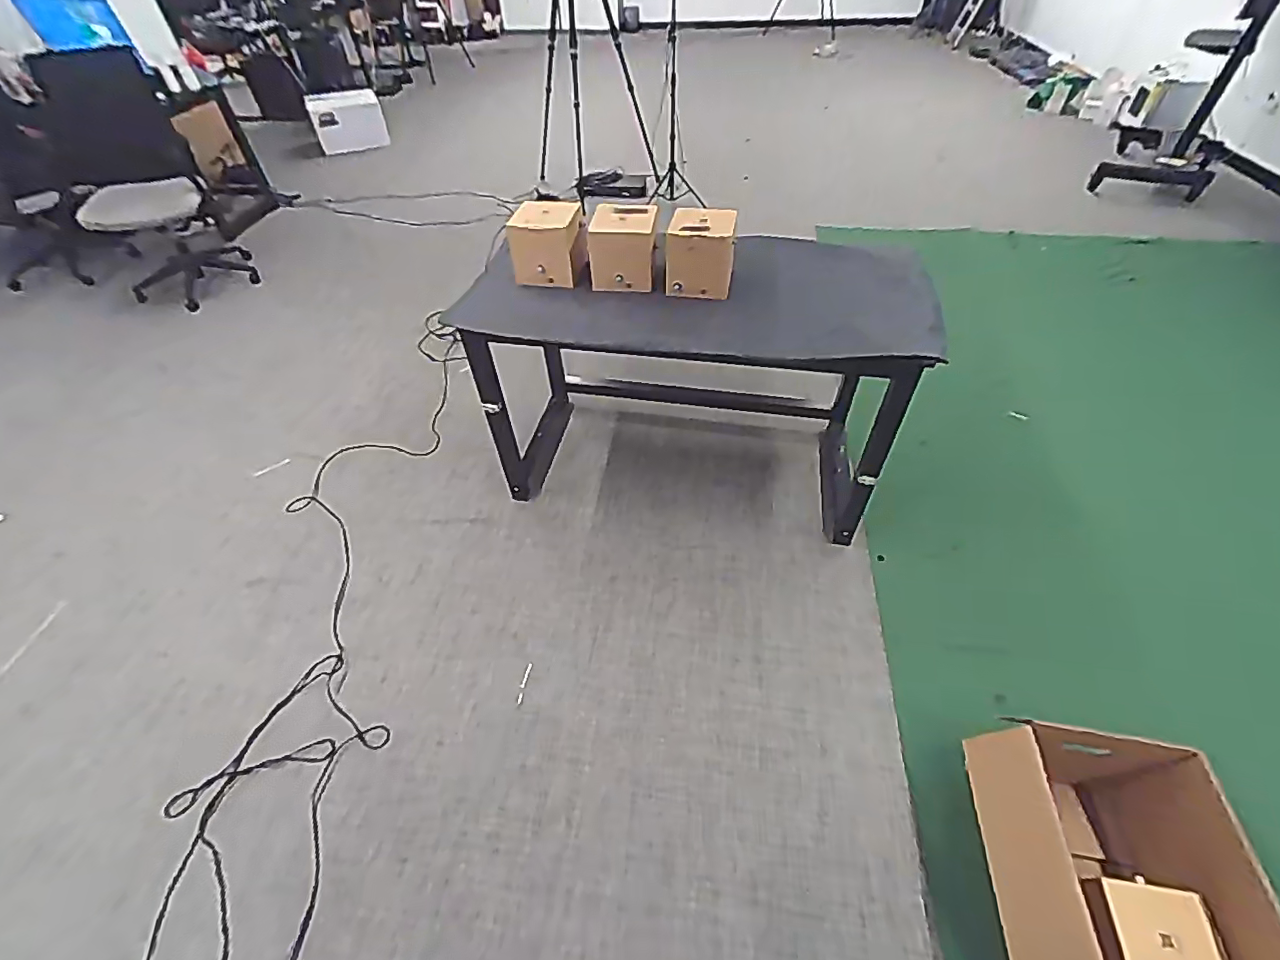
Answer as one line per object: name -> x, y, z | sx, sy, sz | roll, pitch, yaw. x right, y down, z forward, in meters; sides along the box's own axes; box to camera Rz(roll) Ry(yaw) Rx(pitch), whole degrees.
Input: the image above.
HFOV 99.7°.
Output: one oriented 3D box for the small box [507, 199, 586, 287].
small box -> -0.252, -0.661, 1.509 | 0.168, 0.176, 0.179 | 5, 48, 7
